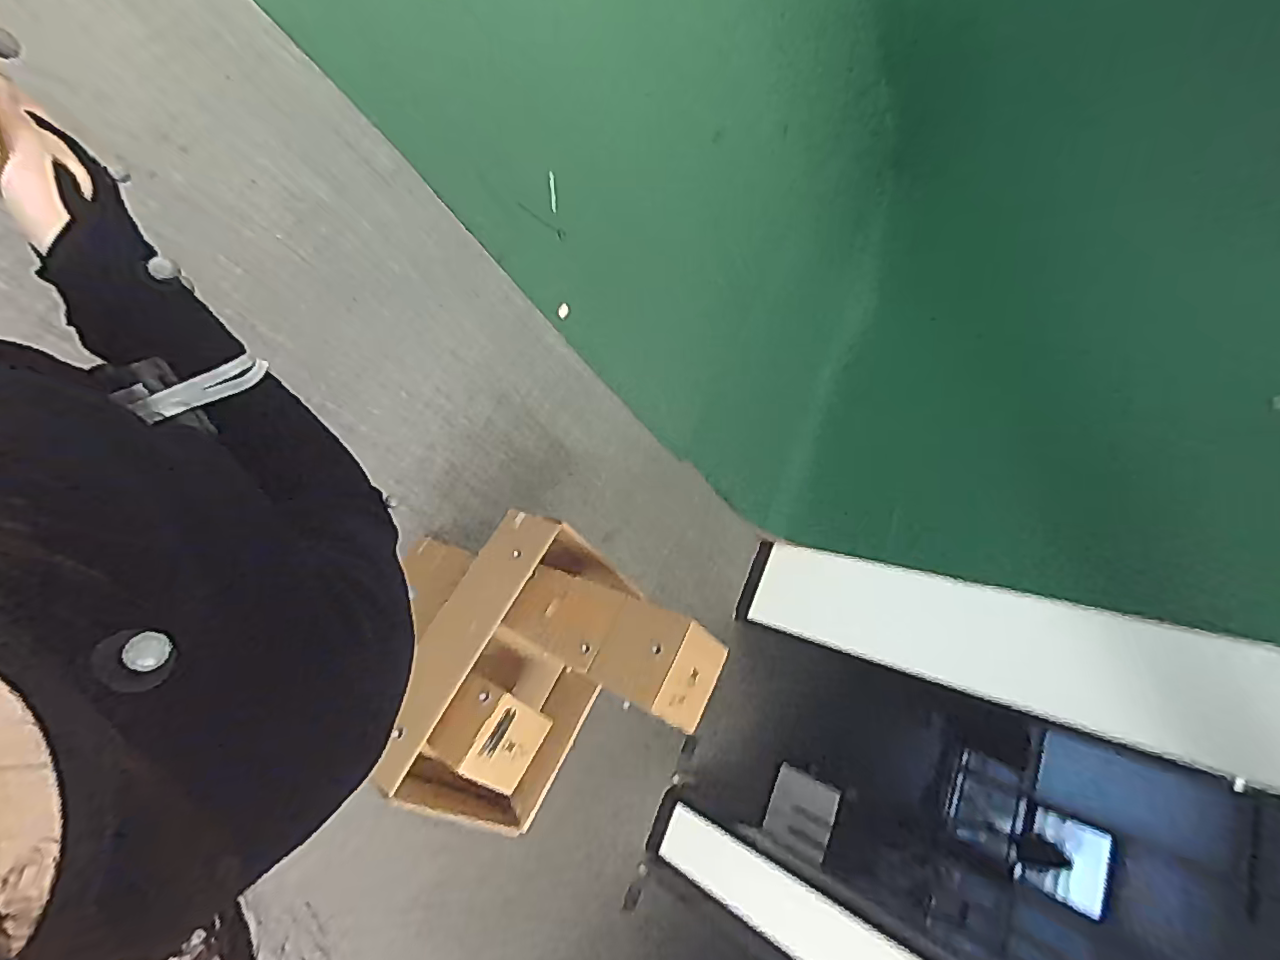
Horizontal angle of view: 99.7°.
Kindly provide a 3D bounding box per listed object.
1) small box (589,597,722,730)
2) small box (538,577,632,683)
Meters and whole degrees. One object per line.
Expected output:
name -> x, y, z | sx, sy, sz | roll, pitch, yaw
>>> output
small box -> 0.029, 0.356, 1.071 | 0.168, 0.176, 0.179 | 48, 63, -41
small box -> -0.090, 0.334, 1.184 | 0.168, 0.176, 0.179 | 49, 63, -41
